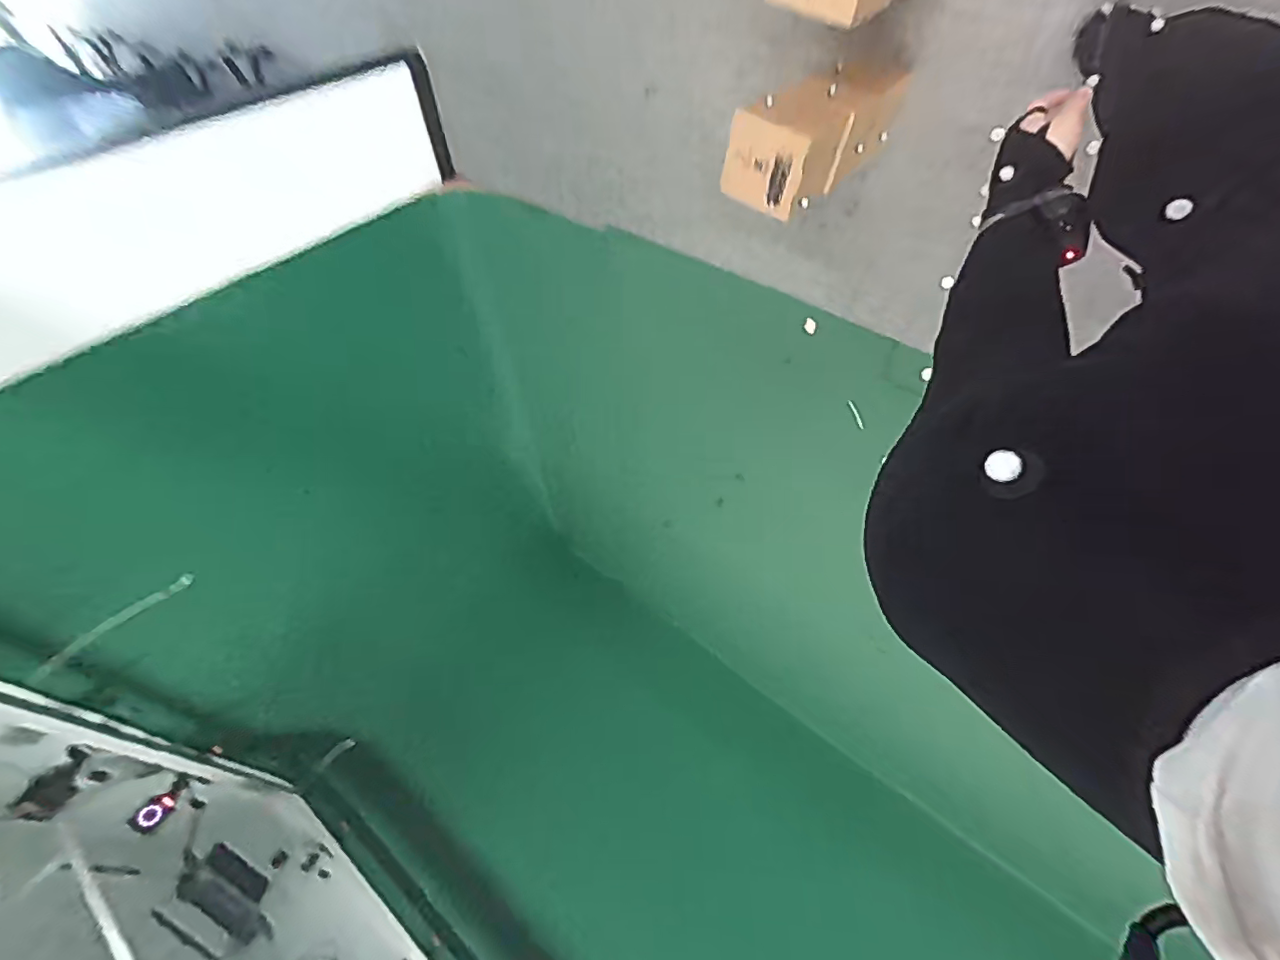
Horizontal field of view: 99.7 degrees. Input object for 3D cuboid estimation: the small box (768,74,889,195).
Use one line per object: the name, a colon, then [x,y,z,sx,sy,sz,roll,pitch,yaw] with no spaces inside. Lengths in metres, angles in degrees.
small box: [0.425,-0.785,1.223,0.179,0.176,0.168,36,149,19]

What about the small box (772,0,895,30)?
small box: [0.344,-0.878,0.876,0.168,0.176,0.179,35,150,17]

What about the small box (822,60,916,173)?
small box: [0.529,-0.883,1.307,0.179,0.176,0.168,35,149,20]
